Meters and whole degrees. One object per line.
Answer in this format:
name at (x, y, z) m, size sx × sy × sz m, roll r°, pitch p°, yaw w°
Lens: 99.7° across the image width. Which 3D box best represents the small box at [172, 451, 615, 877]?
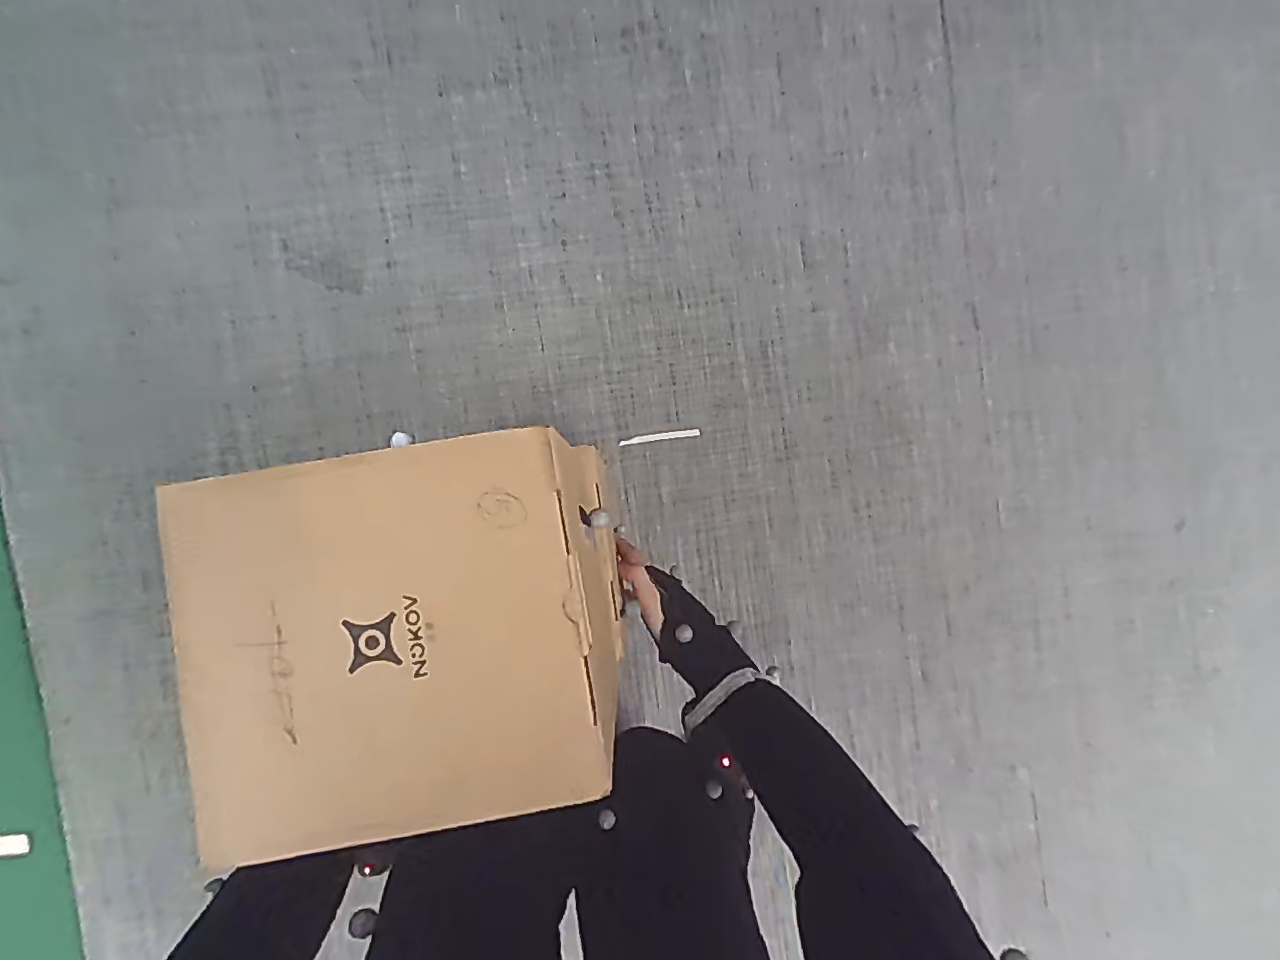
small box at (-0.110, 0.081, 0.316) m, size 0.179 × 0.176 × 0.168 m, roll -9°, pitch 86°, yaw 0°
